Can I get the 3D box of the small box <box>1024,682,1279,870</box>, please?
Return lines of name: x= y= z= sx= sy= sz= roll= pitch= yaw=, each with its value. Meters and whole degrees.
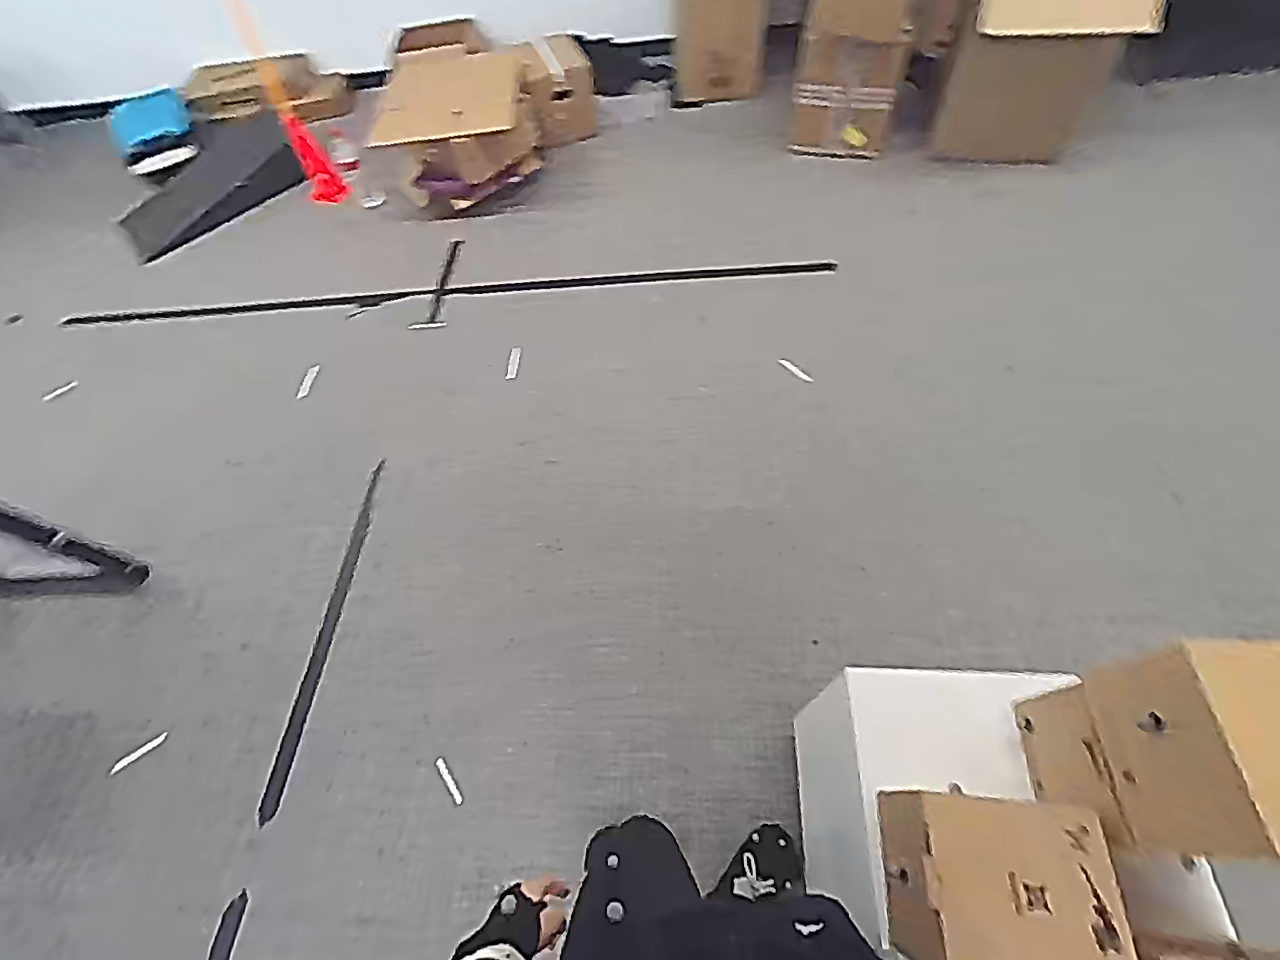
small box: x=0.590 y=0.345 z=0.635 sx=0.179 sy=0.176 sz=0.168 roll=2 pitch=60 yaw=7

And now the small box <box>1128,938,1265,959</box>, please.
small box: x=0.568 y=0.557 z=0.515 sx=0.179 sy=0.176 sz=0.168 roll=0 pitch=58 yaw=8

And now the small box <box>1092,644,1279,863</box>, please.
small box: x=0.572 y=0.256 z=0.500 sx=0.179 sy=0.176 sz=0.168 roll=-1 pitch=60 yaw=6

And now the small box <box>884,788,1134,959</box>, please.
small box: x=0.383 y=0.448 z=0.598 sx=0.179 sy=0.176 sz=0.168 roll=3 pitch=60 yaw=8
